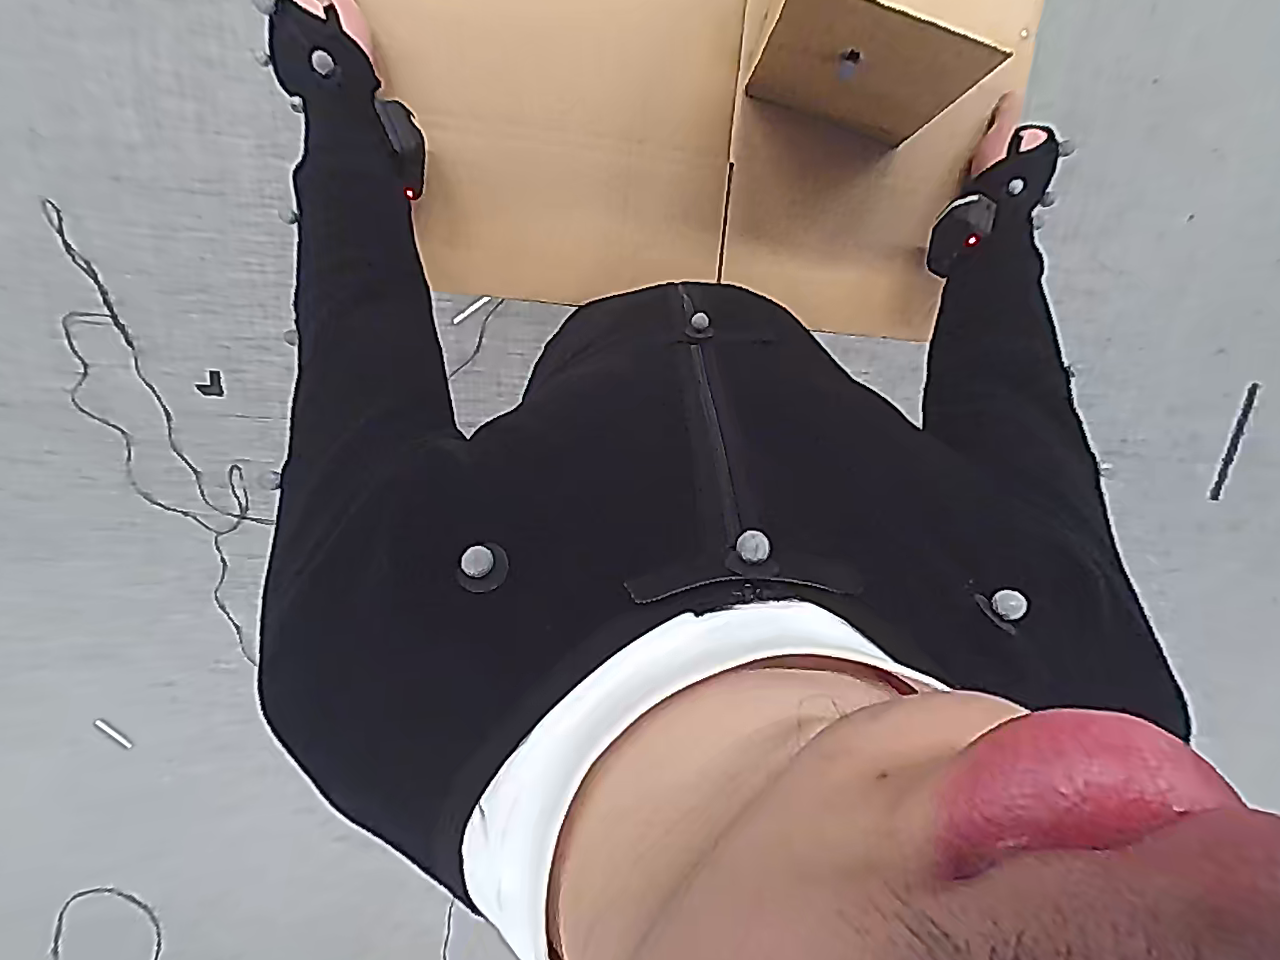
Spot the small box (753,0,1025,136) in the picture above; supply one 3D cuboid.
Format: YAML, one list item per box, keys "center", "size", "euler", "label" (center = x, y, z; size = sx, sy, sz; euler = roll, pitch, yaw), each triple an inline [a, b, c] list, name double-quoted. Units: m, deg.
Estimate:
- center: [0.214, -0.437, 0.470]
  size: [0.179, 0.176, 0.168]
  euler: [15, 100, -5]
  label: "small box"
